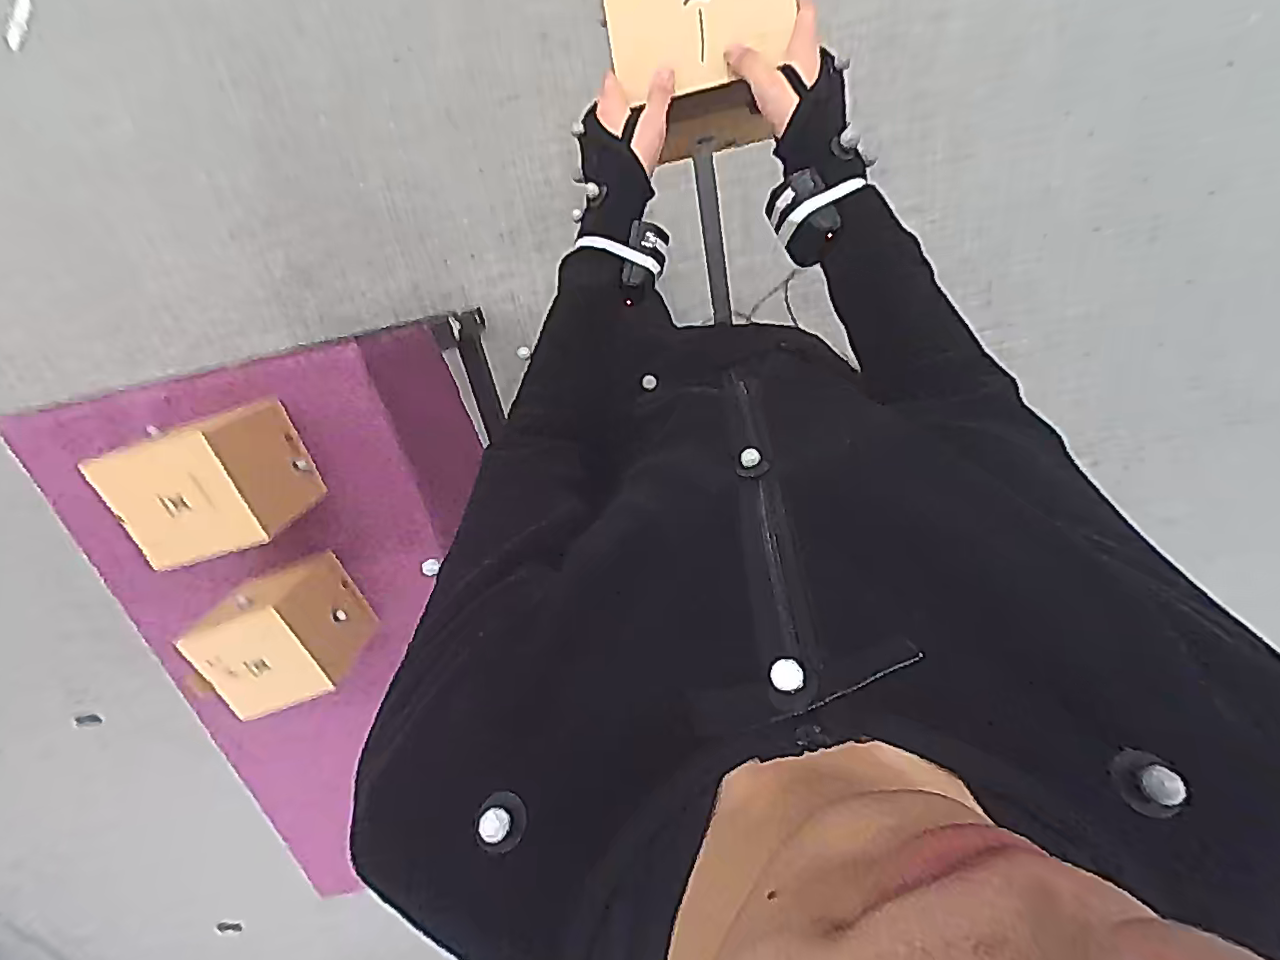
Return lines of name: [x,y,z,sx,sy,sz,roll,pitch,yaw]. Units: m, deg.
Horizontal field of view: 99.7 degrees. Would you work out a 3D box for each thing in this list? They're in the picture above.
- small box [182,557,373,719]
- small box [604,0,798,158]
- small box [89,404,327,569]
small box: [-0.578,0.253,0.897,0.179,0.176,0.168,-20,111,8]
small box: [0.057,-0.460,0.542,0.168,0.176,0.179,-7,102,10]
small box: [-0.612,0.003,0.794,0.179,0.176,0.168,-15,113,6]
